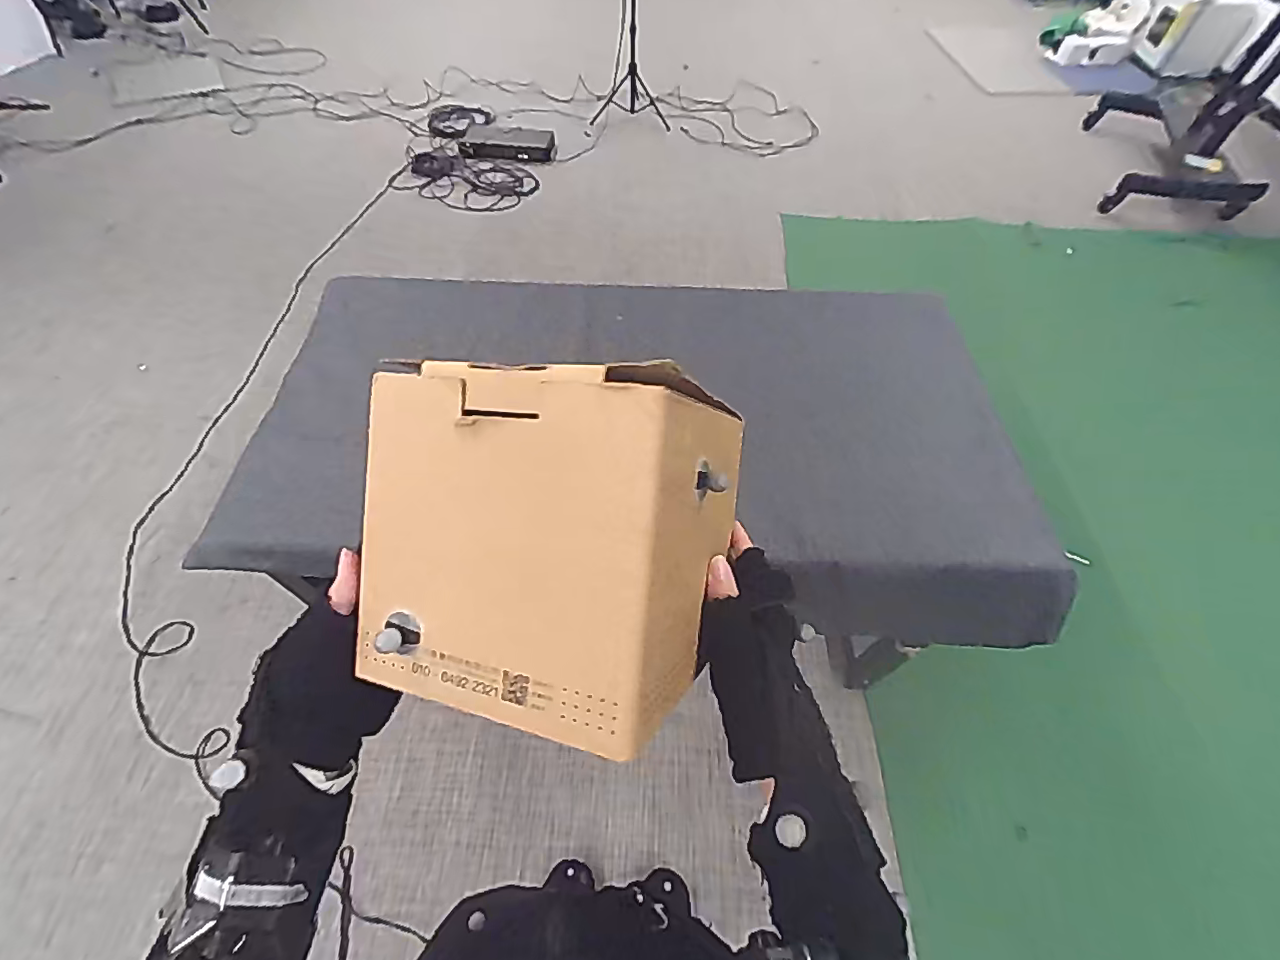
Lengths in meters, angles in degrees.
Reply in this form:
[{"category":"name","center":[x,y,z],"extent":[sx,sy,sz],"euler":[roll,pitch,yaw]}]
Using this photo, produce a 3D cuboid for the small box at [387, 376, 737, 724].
[{"category":"small box","center":[-0.040,0.031,0.354],"extent":[0.168,0.179,0.176],"euler":[7,93,20]}]
